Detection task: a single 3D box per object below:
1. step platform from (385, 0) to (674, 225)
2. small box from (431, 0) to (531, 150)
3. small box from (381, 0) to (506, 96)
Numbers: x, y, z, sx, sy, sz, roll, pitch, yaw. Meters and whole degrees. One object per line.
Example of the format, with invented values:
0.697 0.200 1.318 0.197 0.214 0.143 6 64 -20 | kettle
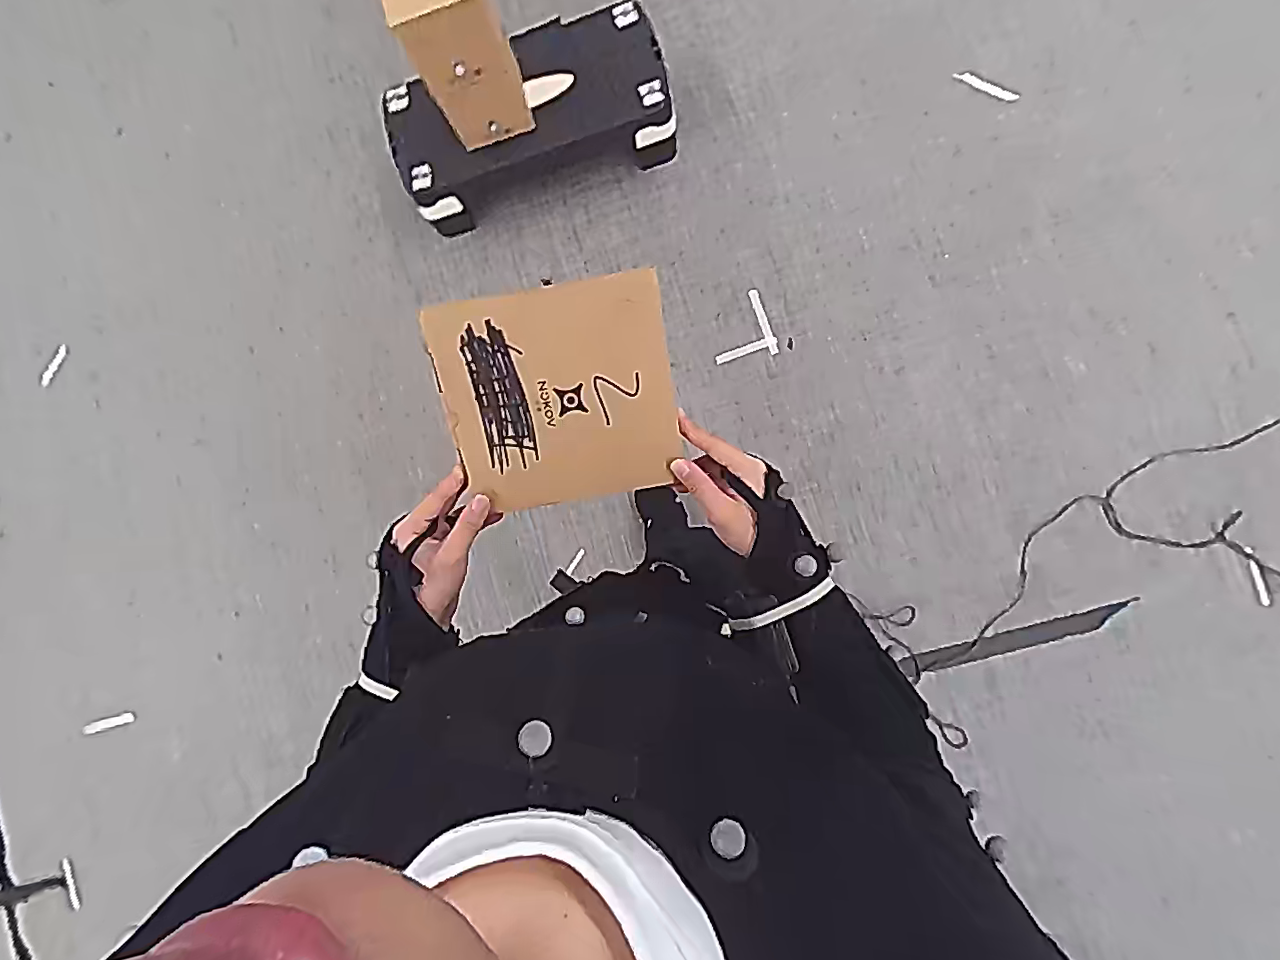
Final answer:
-0.264 -0.898 1.333 0.684 0.204 0.286 -18 87 5 | step platform
-0.352 -0.862 1.165 0.168 0.176 0.179 -16 87 5 | small box
-0.368 -0.870 1.001 0.168 0.176 0.179 -16 87 4 | small box
